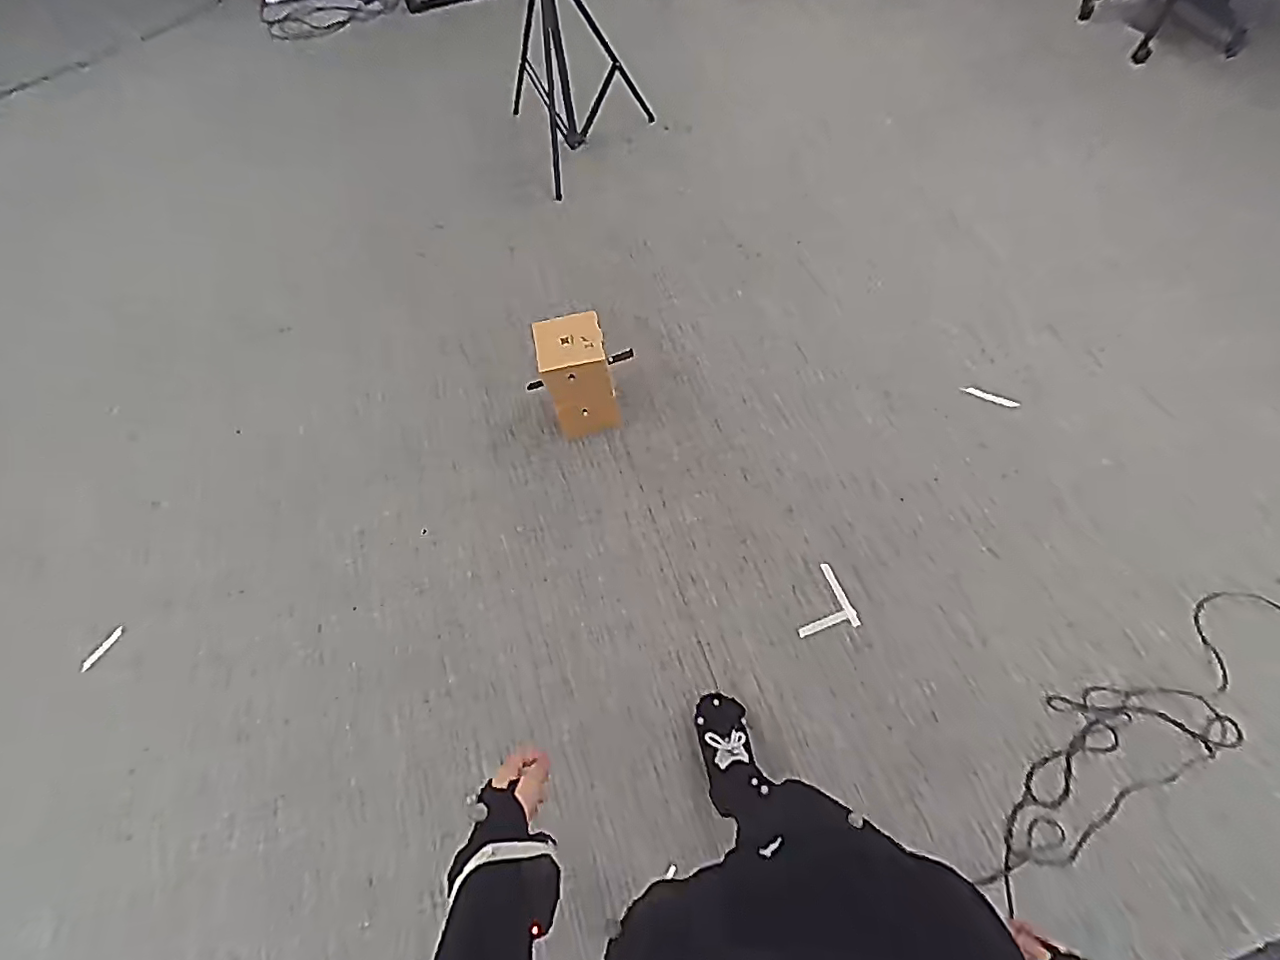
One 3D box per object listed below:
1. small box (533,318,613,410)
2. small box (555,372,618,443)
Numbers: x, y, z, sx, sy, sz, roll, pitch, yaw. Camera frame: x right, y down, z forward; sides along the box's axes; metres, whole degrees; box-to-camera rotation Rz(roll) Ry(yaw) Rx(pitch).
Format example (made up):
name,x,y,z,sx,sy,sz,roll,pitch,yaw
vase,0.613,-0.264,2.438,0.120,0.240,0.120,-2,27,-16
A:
name,x,y,z,sx,sy,sz,roll,pitch,yaw
small box,-0.180,-0.309,1.478,0.179,0.176,0.168,-11,66,-1
small box,-0.165,-0.234,1.623,0.179,0.176,0.168,-14,65,-2
